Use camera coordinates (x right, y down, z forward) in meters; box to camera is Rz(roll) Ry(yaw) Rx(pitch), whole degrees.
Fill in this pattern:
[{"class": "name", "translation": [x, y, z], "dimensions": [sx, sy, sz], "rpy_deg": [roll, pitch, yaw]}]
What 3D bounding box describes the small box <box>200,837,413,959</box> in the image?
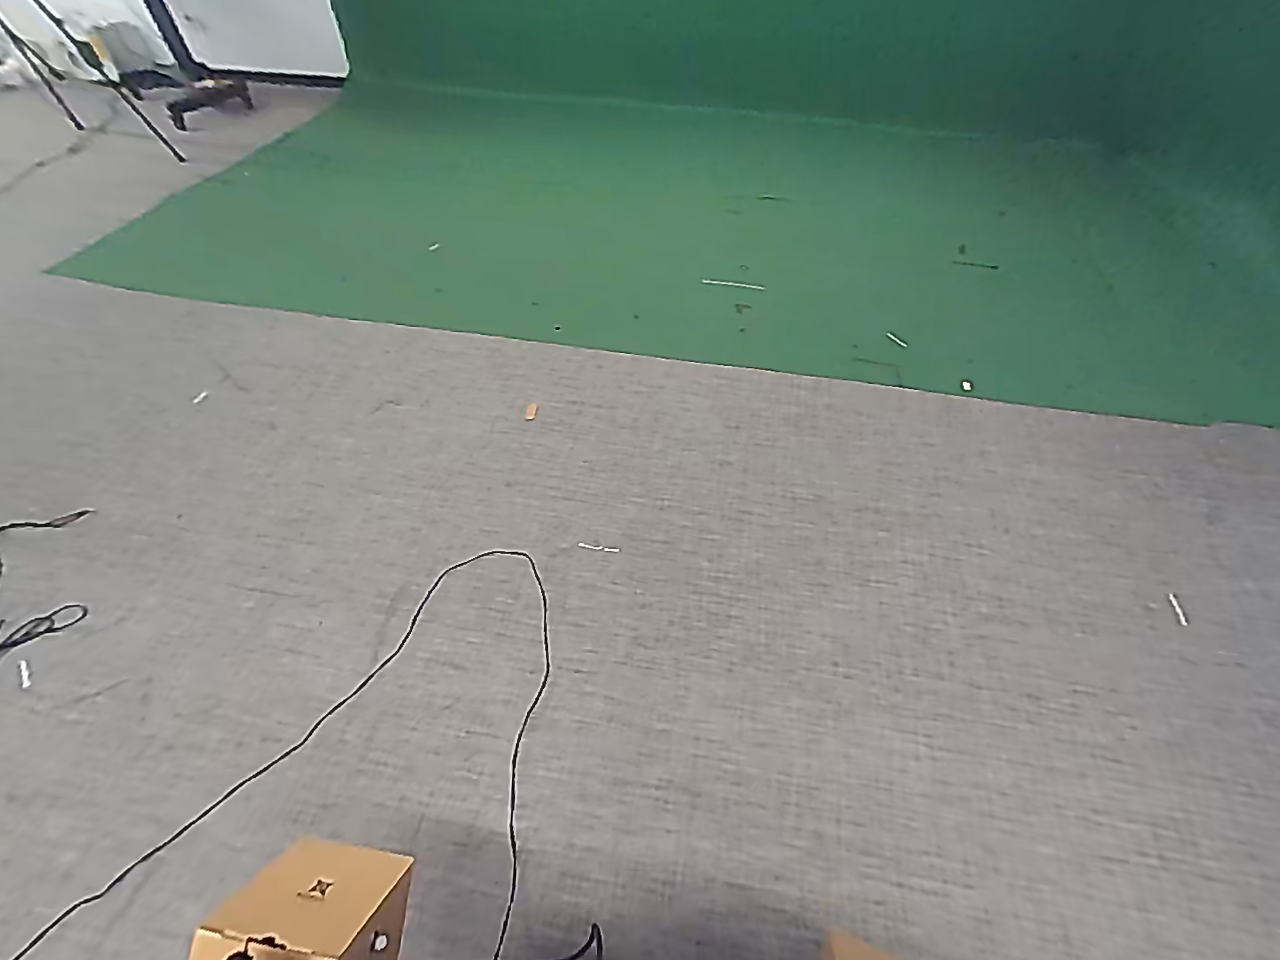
[{"class": "small box", "translation": [-0.410, 0.585, 0.660], "dimensions": [0.168, 0.179, 0.176], "rpy_deg": [8, 87, 4]}]
